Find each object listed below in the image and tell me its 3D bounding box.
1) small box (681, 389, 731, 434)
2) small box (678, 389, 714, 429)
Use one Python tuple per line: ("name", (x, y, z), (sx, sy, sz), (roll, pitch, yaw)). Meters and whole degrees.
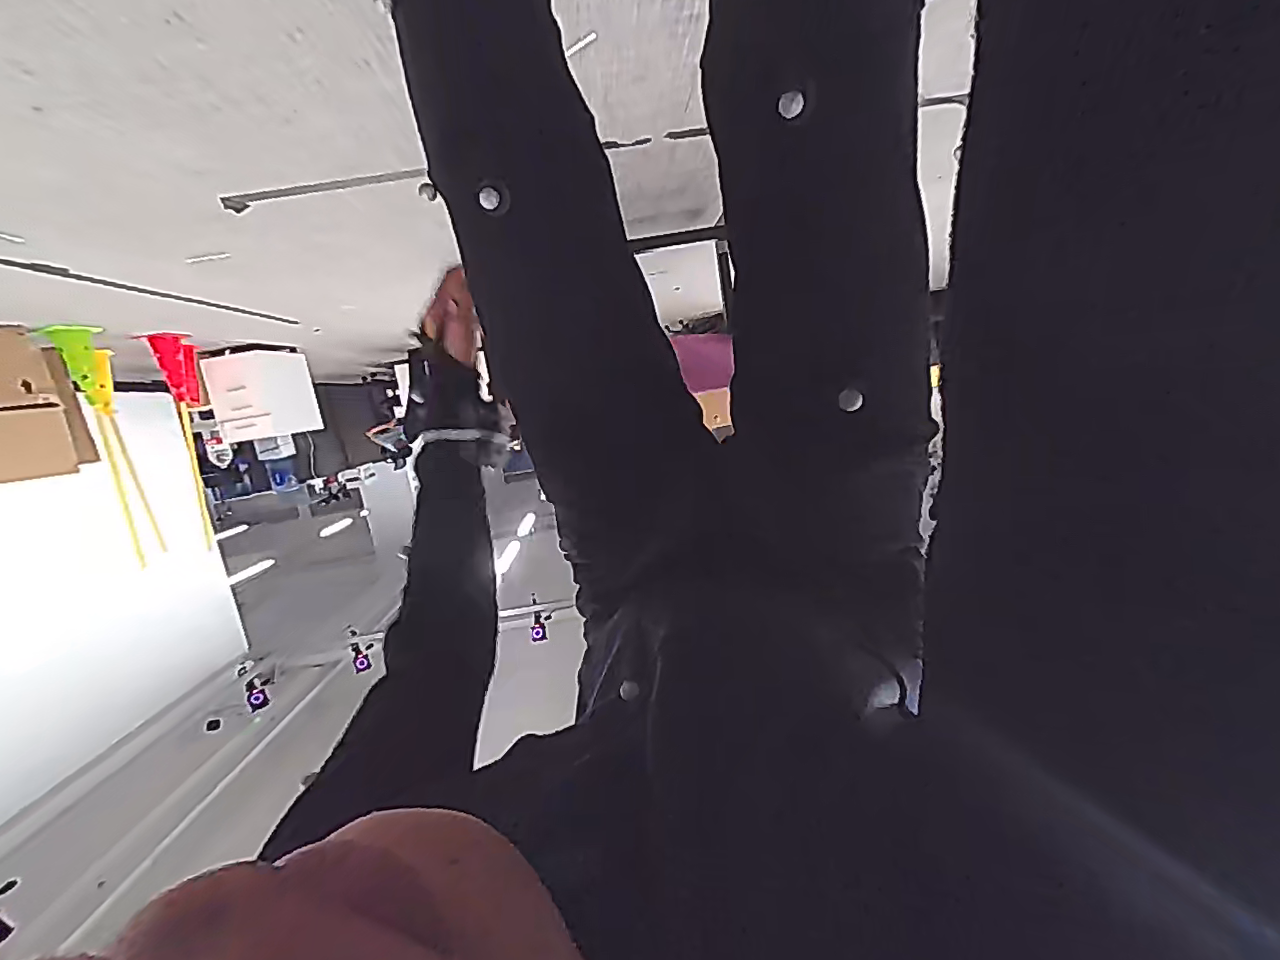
("small box", (0.288, -0.305, 2.372), (0.179, 0.176, 0.168), (-9, -171, -2))
("small box", (0.286, -0.344, 2.611), (0.179, 0.176, 0.168), (-9, -171, 0))
